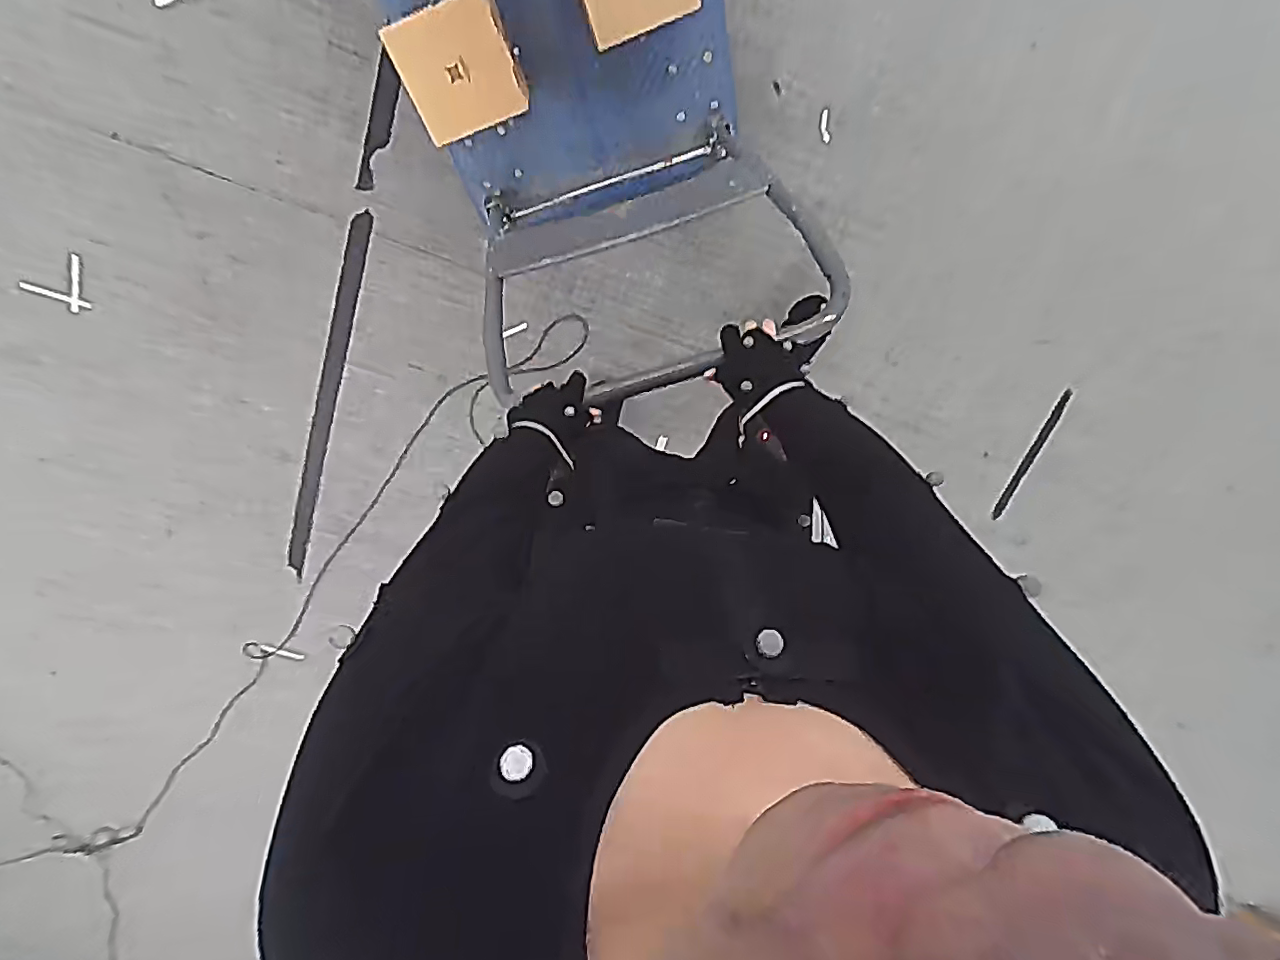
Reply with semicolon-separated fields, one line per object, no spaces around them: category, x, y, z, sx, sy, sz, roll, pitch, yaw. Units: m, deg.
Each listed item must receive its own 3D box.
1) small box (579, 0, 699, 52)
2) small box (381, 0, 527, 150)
small box;-0.021;-0.822;0.865;0.179;0.176;0.168;-18;134;7
small box;-0.304;-0.700;0.927;0.179;0.176;0.168;-20;133;6
